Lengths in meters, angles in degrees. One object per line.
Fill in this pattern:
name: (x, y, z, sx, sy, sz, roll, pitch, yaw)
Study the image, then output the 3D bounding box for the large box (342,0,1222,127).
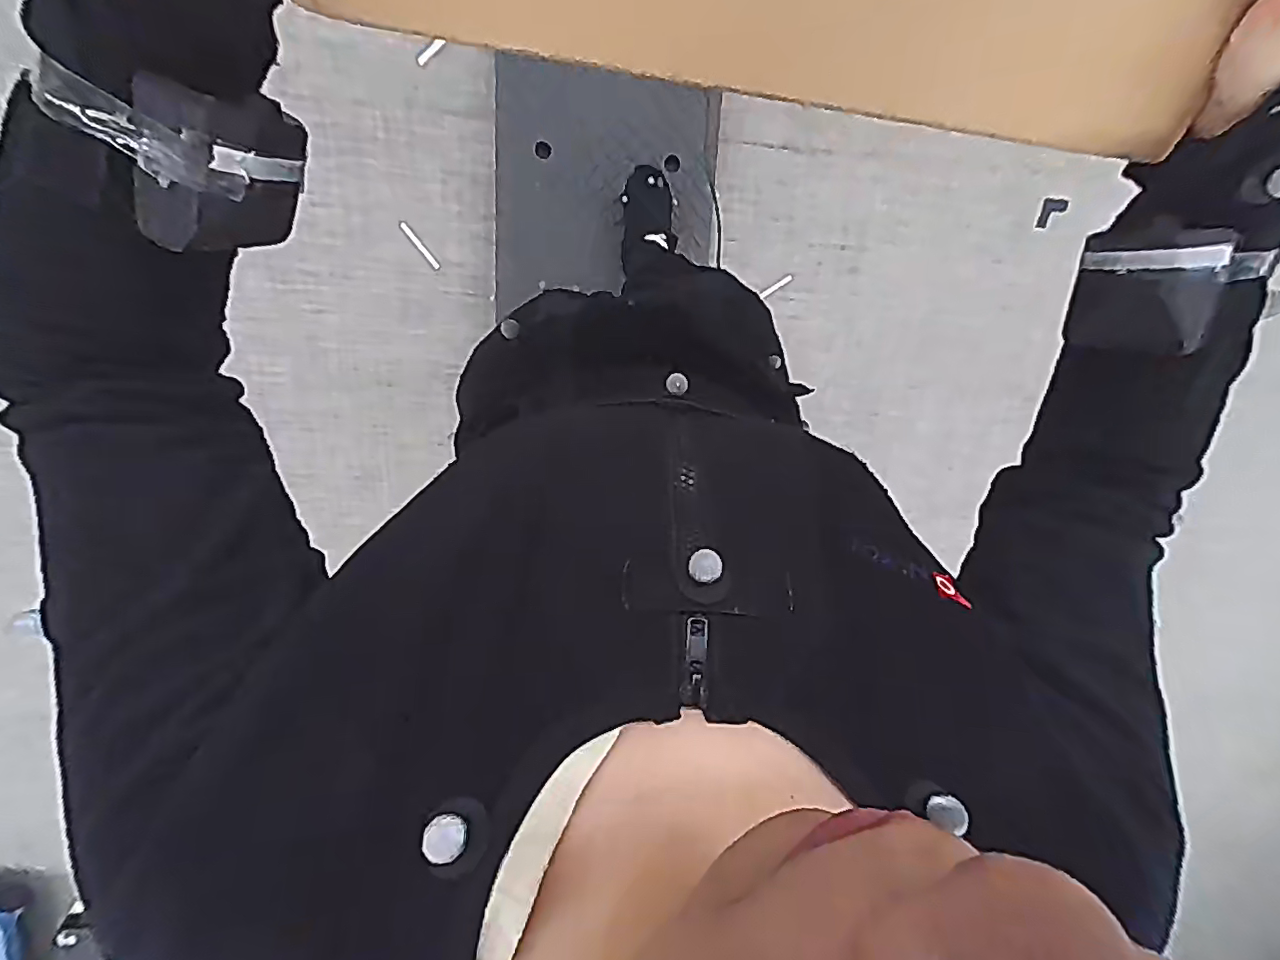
large box: (0.068, -0.400, 0.263, 0.408, 0.320, 0.320, 3, 131, -10)
